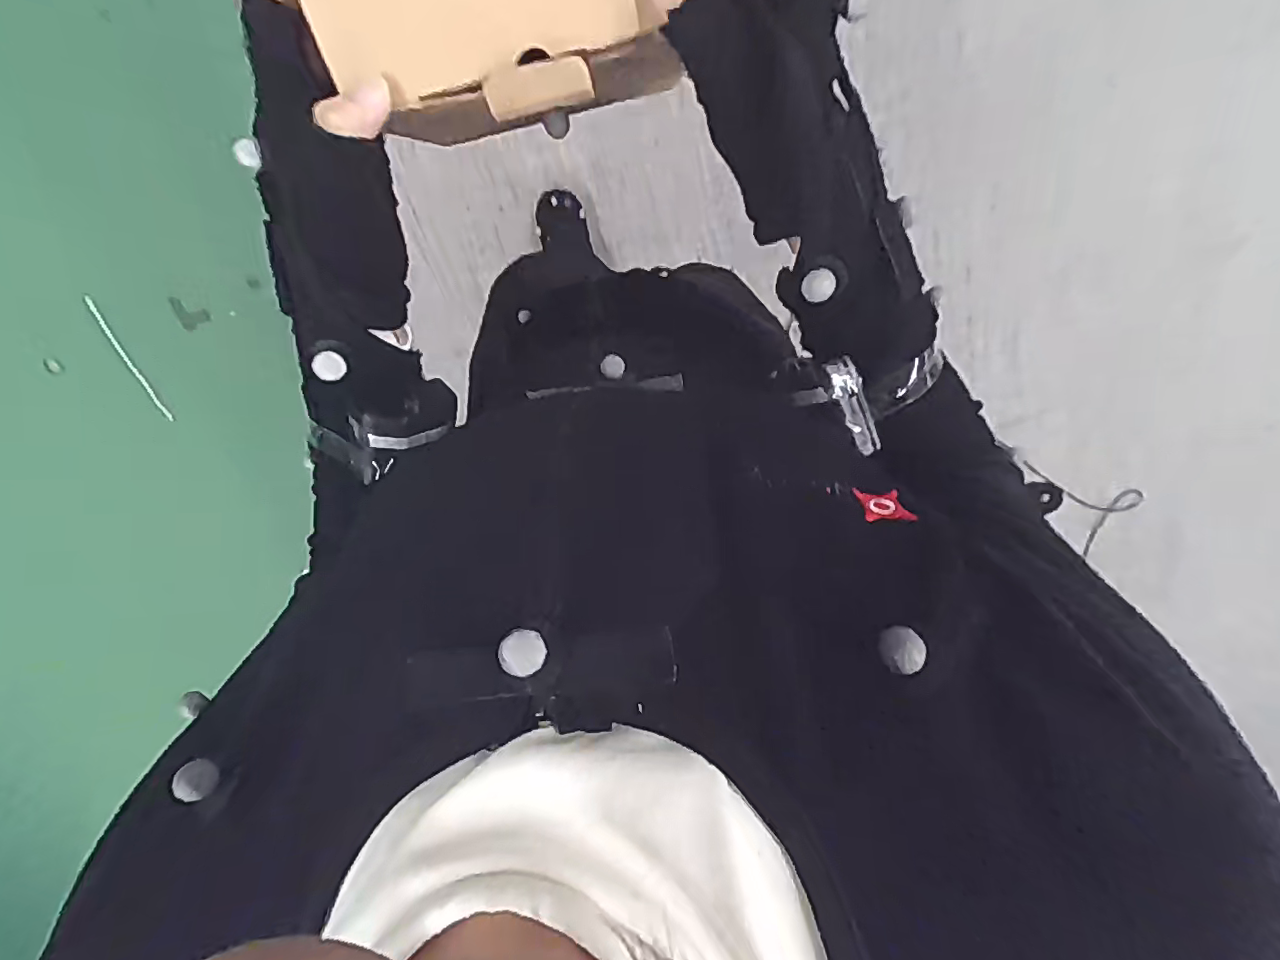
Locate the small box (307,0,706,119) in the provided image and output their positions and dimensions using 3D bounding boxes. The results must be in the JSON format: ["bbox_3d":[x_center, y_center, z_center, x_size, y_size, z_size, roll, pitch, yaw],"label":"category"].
[{"bbox_3d":[-0.070,-0.293,0.261,0.168,0.176,0.179,-13,120,4],"label":"small box"}]
